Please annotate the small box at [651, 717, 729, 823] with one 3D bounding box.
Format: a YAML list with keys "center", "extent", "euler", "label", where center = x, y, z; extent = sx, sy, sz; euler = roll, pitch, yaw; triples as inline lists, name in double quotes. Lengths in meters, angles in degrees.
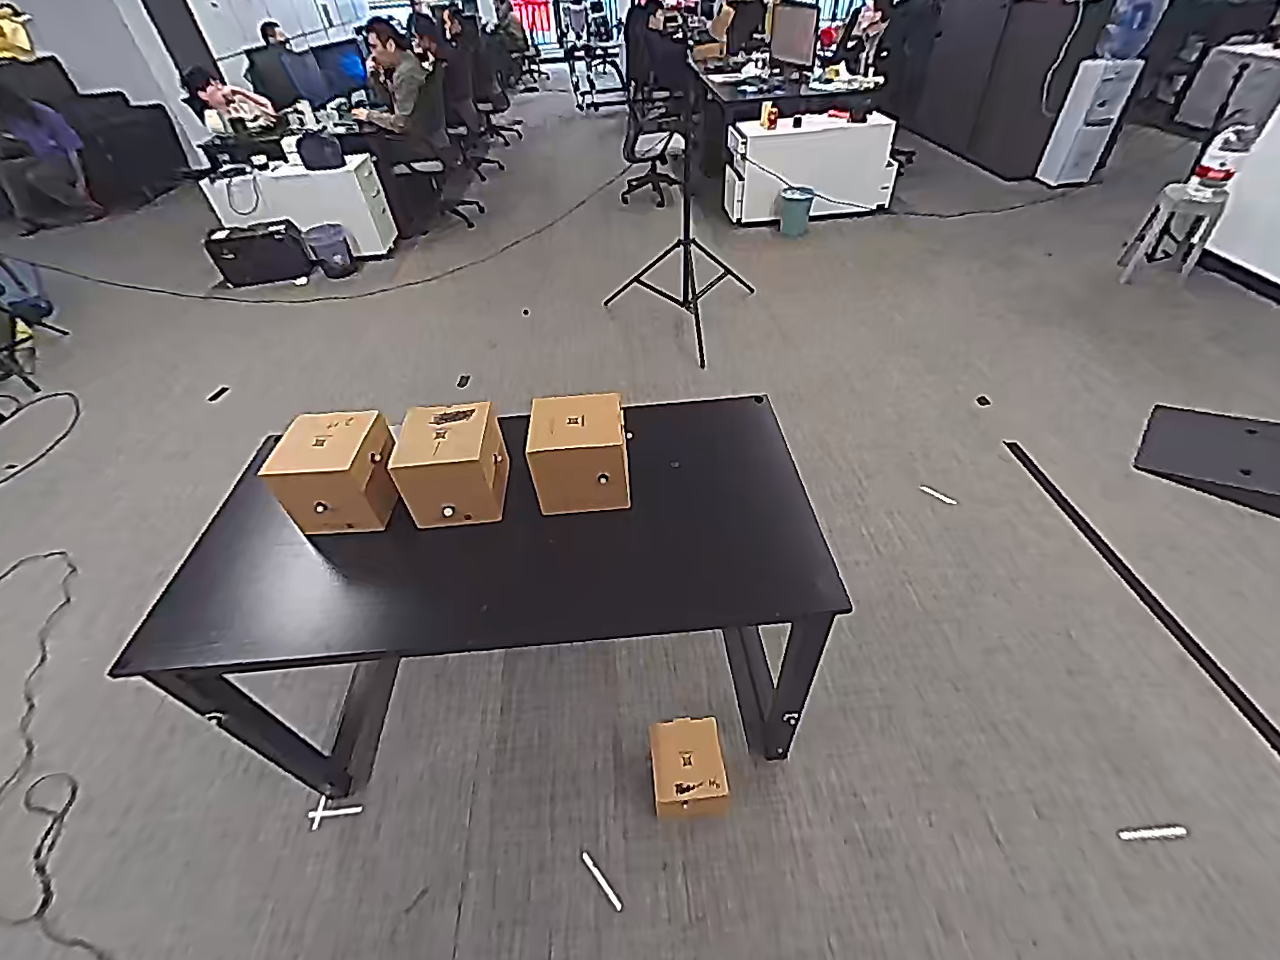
- center: [0.116, 0.705, 1.317]
  extent: [0.168, 0.176, 0.179]
  euler: [-7, 43, -1]
  label: "small box"

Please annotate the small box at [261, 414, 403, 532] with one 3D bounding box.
- center: [-0.588, -0.009, 1.069]
  extent: [0.168, 0.176, 0.179]
  euler: [-3, 44, 1]
  label: "small box"

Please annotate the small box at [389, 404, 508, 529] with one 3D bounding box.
- center: [-0.364, -0.026, 1.067]
  extent: [0.168, 0.176, 0.179]
  euler: [-6, 45, -1]
  label: "small box"

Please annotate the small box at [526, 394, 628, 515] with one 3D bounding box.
- center: [-0.117, -0.048, 1.071]
  extent: [0.179, 0.176, 0.168]
  euler: [-6, 43, 0]
  label: "small box"
